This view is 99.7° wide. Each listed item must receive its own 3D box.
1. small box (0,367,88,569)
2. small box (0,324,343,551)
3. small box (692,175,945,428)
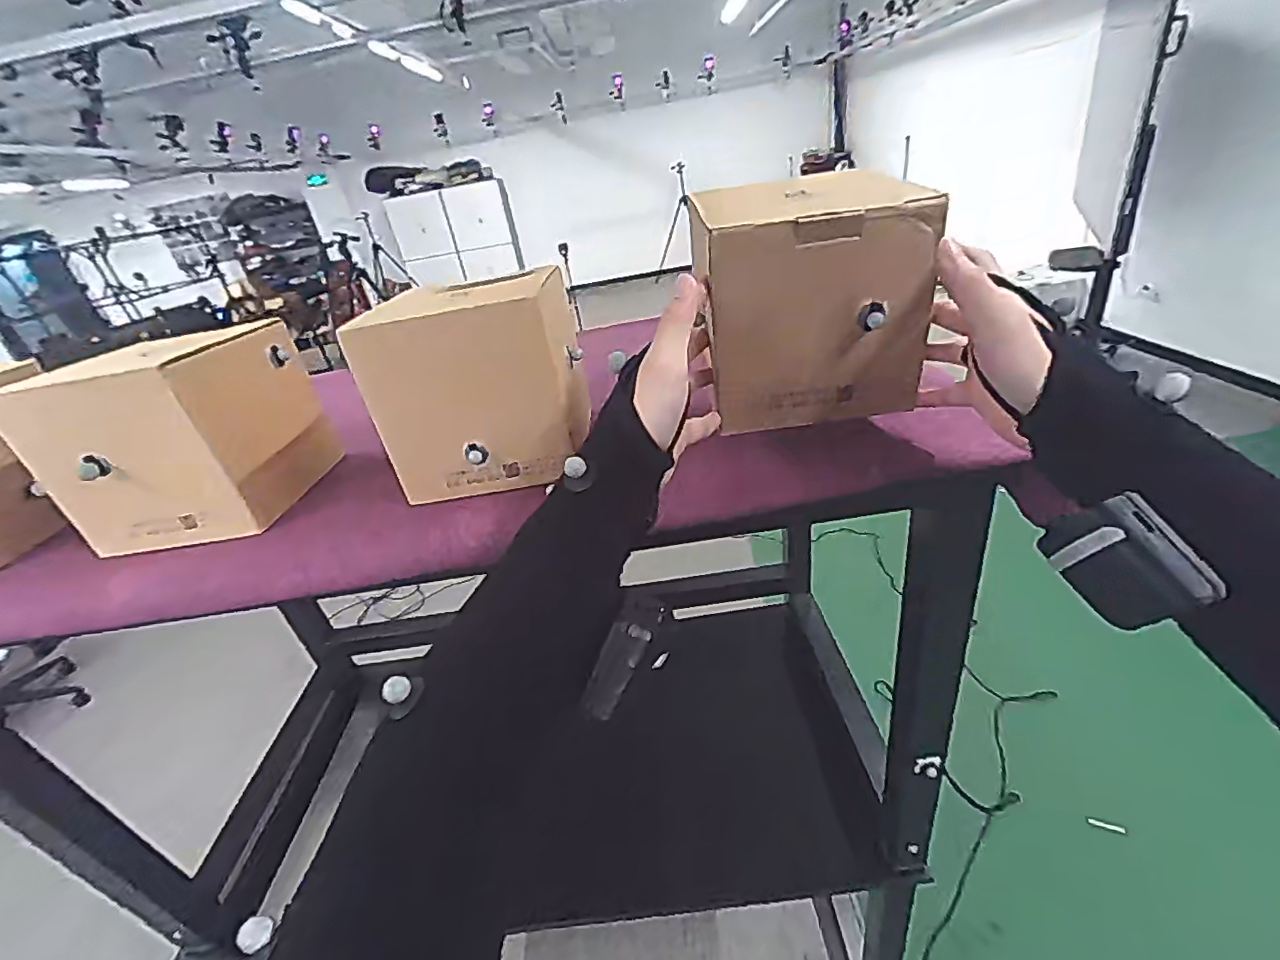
[{"bbox_3d":[-0.719,-0.003,0.567,0.179,0.176,0.168,-8,29,3],"label":"small box"},{"bbox_3d":[-0.439,-0.042,0.545,0.168,0.176,0.179,-9,27,4],"label":"small box"},{"bbox_3d":[0.140,-0.156,0.483,0.168,0.176,0.179,-6,34,4],"label":"small box"}]
